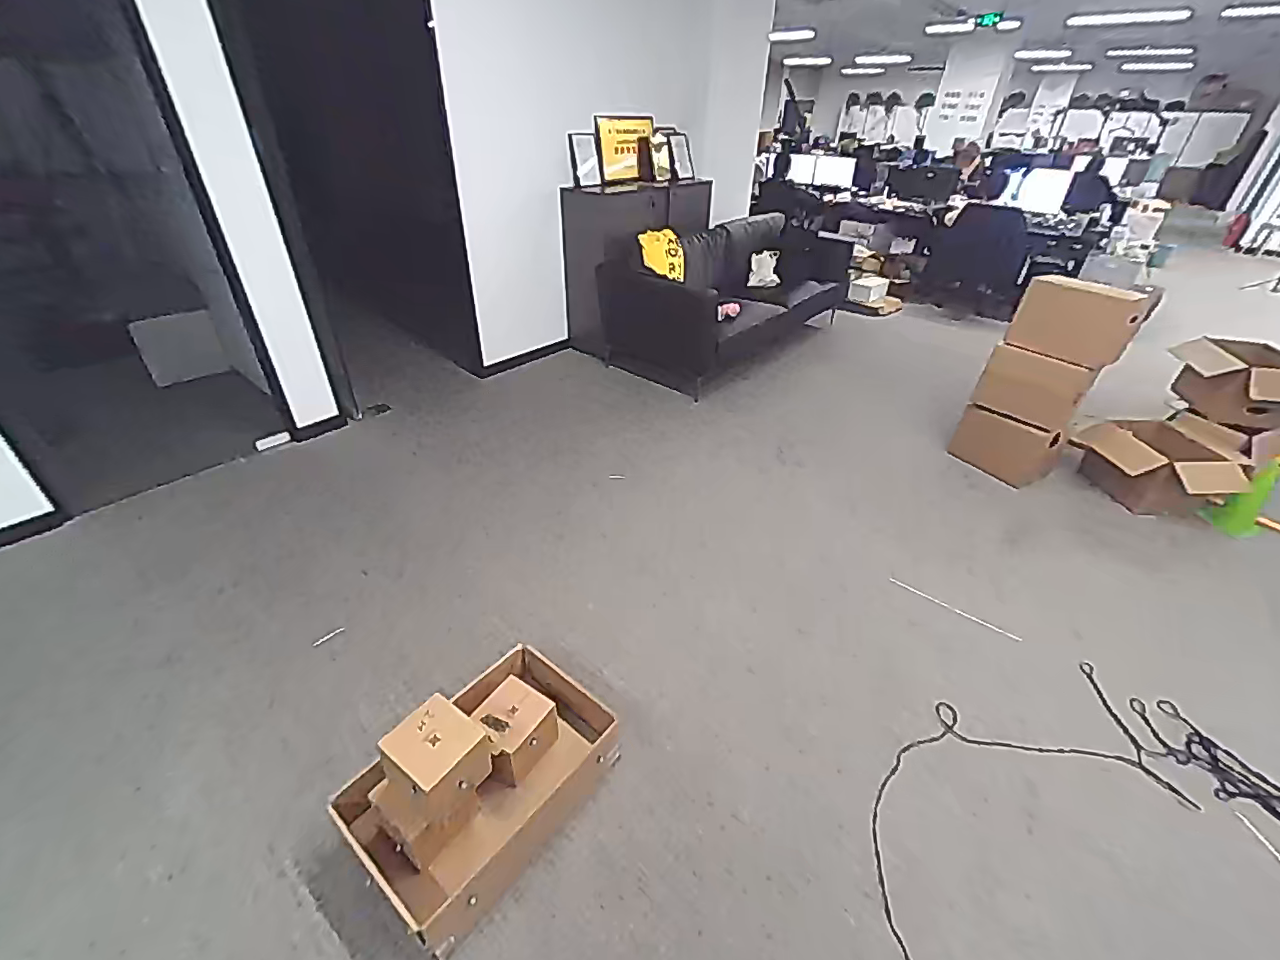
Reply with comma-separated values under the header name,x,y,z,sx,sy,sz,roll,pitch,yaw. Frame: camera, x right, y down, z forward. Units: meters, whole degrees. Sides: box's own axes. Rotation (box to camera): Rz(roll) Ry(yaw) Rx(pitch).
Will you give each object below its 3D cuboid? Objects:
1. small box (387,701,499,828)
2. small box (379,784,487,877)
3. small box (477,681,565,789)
name,x,y,z,sx,sy,sz,roll,pitch,yaw
small box,-0.447,0.661,1.251,0.179,0.176,0.168,23,37,27
small box,-0.495,0.810,1.319,0.168,0.176,0.179,24,39,28
small box,-0.320,0.701,1.484,0.168,0.176,0.179,21,39,26
